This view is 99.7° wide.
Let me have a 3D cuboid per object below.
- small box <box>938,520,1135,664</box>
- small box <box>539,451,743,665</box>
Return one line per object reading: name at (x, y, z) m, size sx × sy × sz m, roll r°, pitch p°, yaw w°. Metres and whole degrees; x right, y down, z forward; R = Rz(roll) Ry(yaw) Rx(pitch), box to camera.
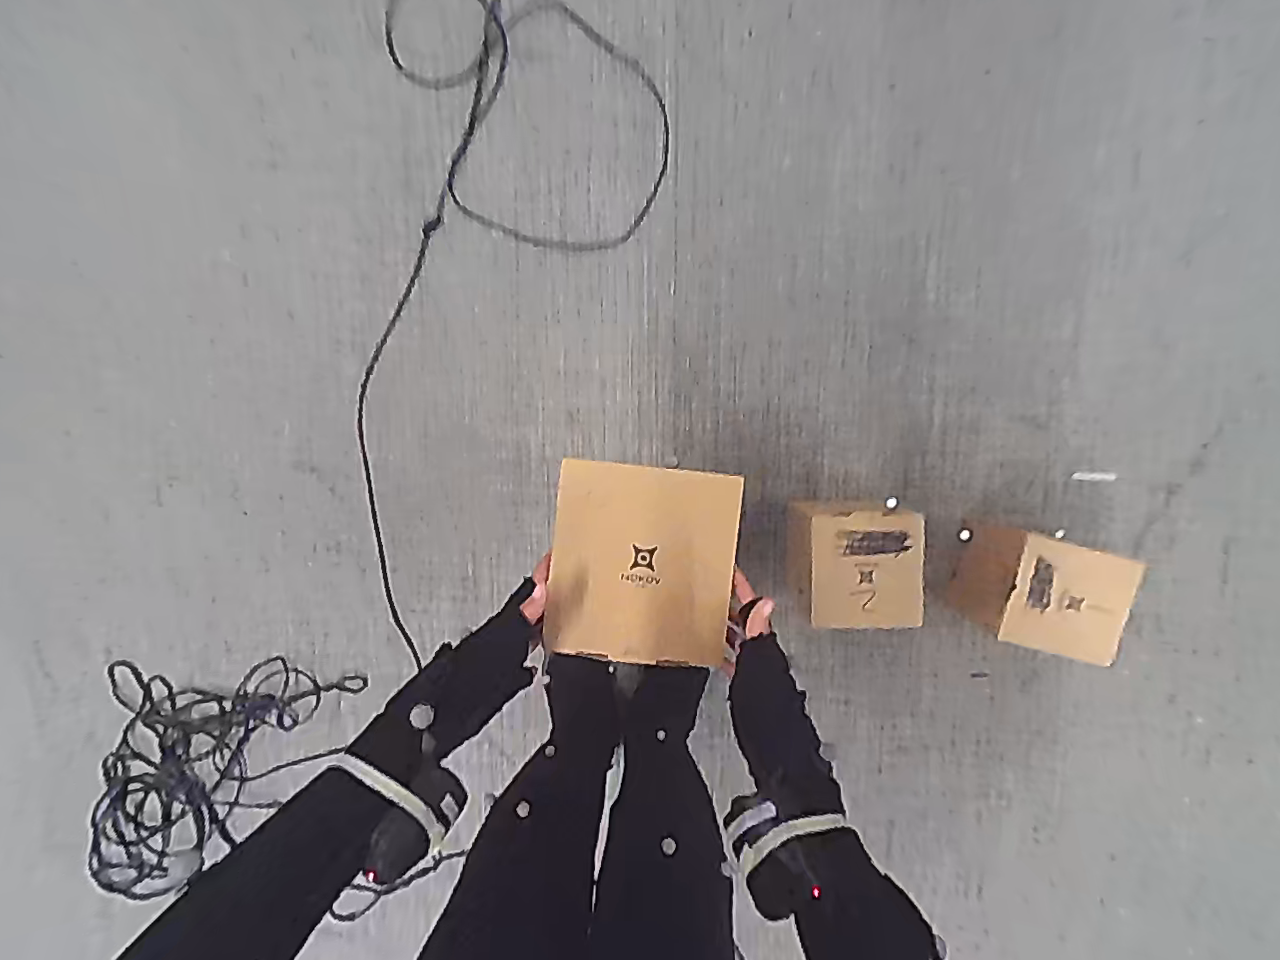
small box at (0.625, 0.169, 0.879) m, size 0.179 × 0.176 × 0.168 m, roll 15°, pitch 95°, yaw 1°
small box at (-0.002, 0.068, 0.554) m, size 0.168 × 0.176 × 0.179 m, roll 6°, pitch 92°, yaw -2°
